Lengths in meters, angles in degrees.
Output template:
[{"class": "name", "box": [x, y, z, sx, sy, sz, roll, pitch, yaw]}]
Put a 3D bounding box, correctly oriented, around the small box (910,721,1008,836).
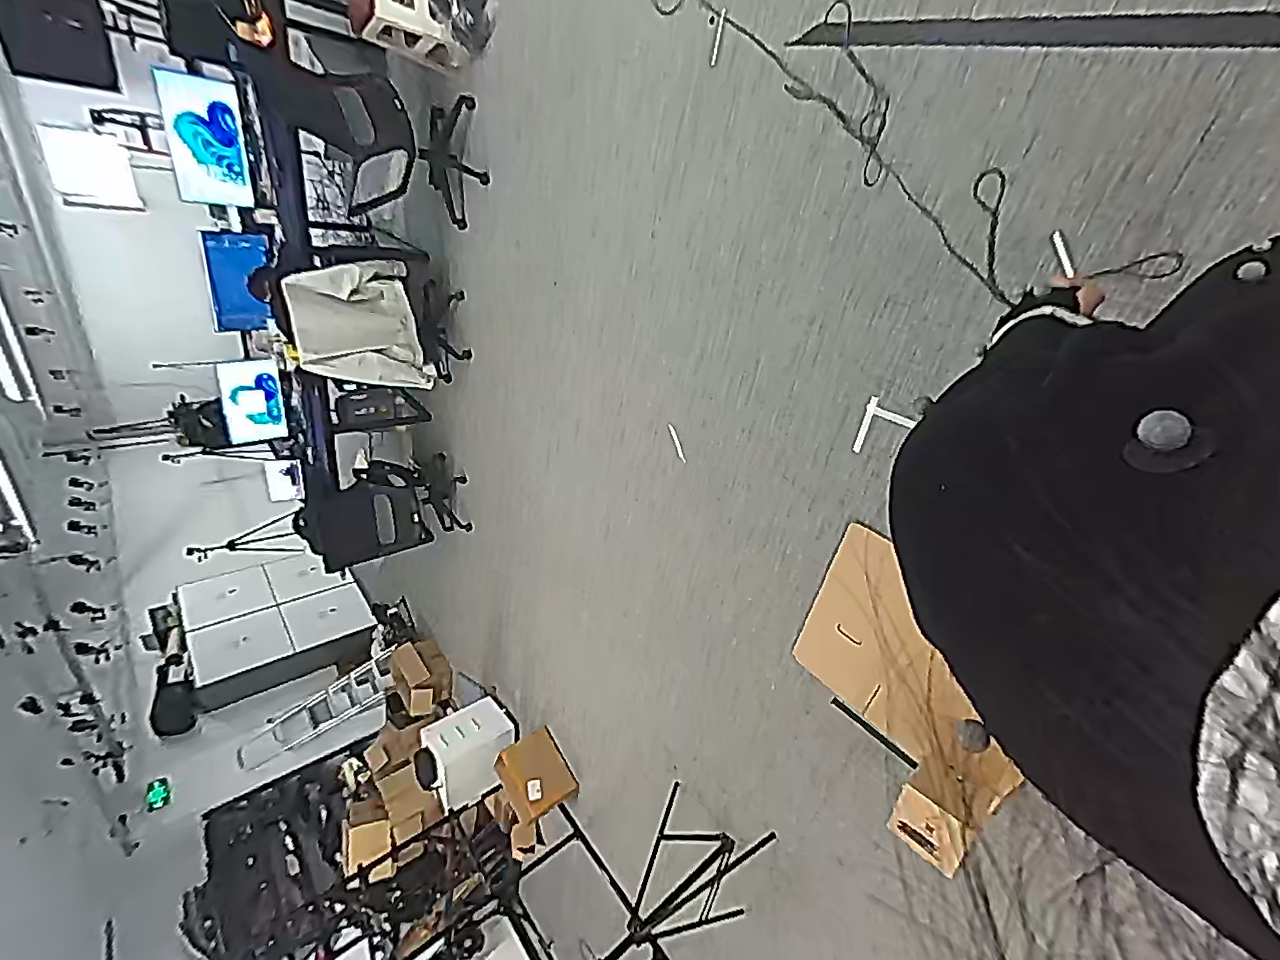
[{"class": "small box", "box": [0.875, 0.808, 1.480, 0.168, 0.176, 0.179, 26, 121, 41]}]
